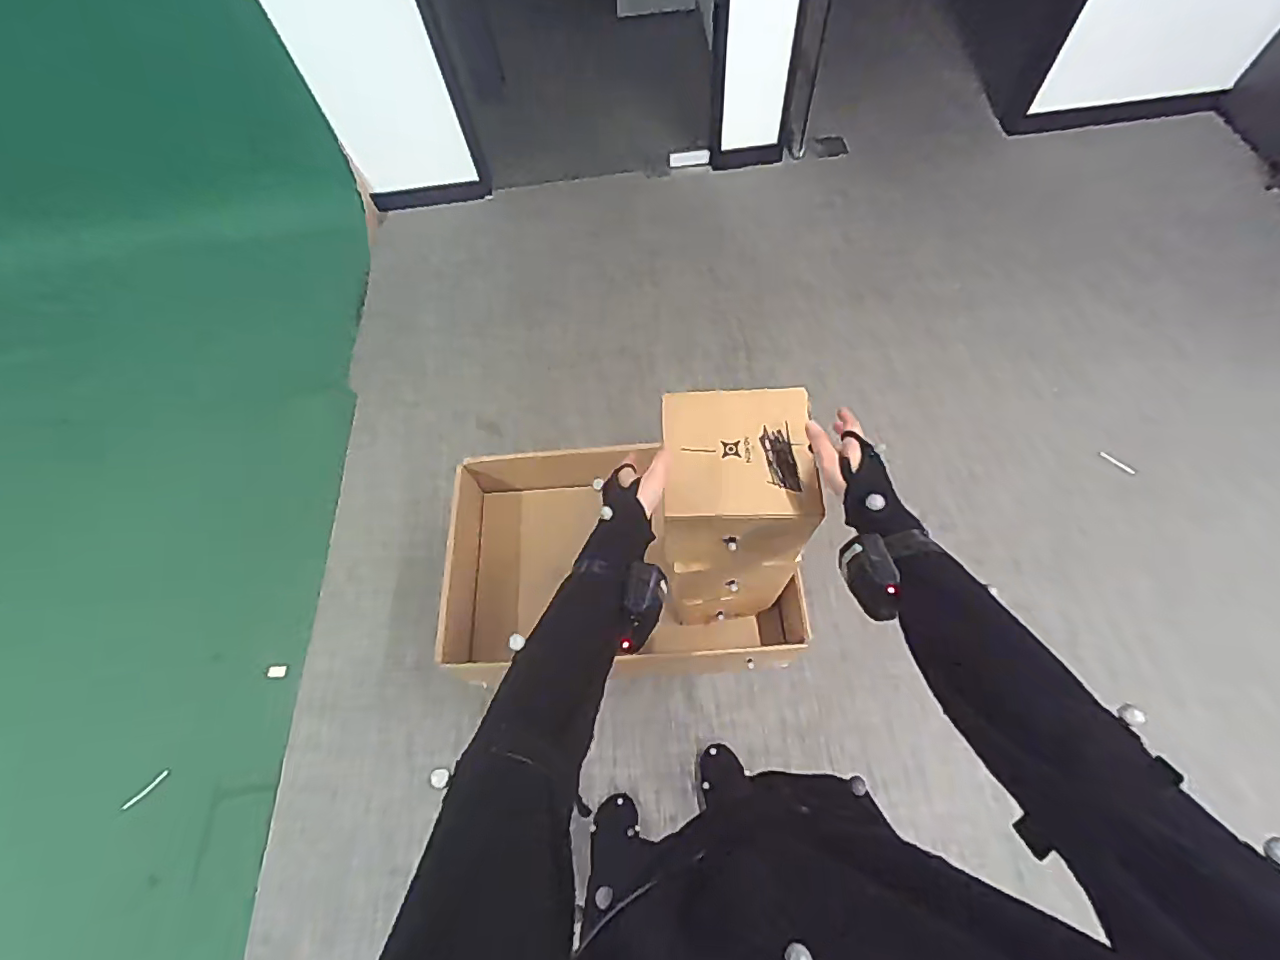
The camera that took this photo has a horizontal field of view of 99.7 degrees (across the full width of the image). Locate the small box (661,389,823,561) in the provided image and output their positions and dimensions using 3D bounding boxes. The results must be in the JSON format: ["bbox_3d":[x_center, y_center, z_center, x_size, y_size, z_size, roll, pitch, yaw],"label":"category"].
[{"bbox_3d":[0.116,0.000,0.687,0.179,0.176,0.168,-1,64,5],"label":"small box"}]
